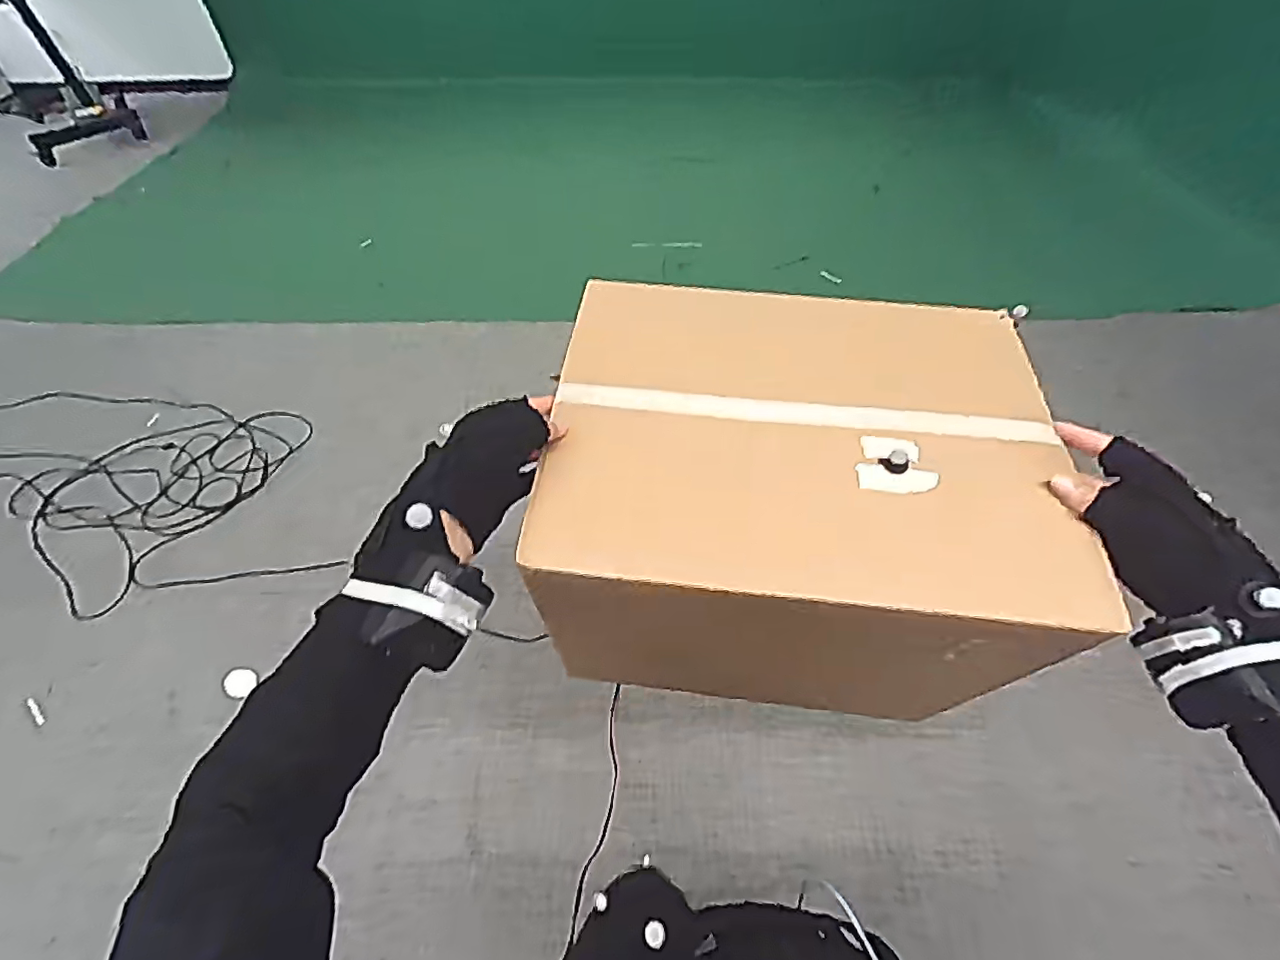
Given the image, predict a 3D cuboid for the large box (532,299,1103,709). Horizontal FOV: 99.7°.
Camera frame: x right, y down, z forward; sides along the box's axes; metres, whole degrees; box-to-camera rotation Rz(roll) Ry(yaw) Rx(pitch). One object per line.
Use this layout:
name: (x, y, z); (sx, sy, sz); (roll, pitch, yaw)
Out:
large box: (0.131, 0.037, 0.580); (0.408, 0.320, 0.320); (5, 57, 4)
